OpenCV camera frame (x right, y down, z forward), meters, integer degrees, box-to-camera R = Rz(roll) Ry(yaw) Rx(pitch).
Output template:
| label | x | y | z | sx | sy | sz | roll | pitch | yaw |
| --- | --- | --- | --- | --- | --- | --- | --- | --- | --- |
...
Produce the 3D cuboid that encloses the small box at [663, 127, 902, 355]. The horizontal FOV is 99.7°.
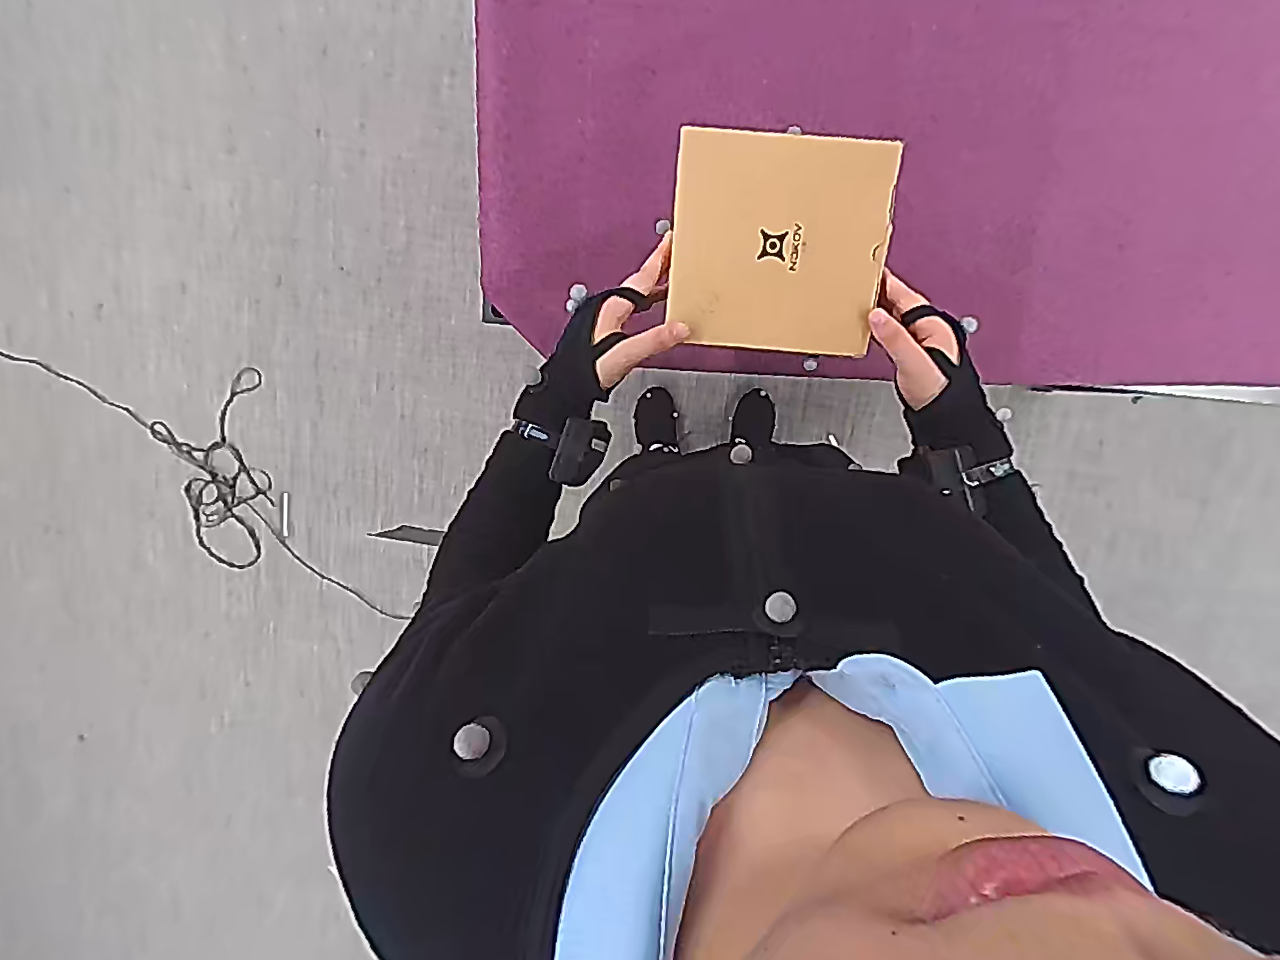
| label | x | y | z | sx | sy | sz | roll | pitch | yaw |
| --- | --- | --- | --- | --- | --- | --- | --- | --- | --- |
| small box | 0.114 | -0.209 | 0.515 | 0.179 | 0.176 | 0.168 | 4 | 104 | 0 |
